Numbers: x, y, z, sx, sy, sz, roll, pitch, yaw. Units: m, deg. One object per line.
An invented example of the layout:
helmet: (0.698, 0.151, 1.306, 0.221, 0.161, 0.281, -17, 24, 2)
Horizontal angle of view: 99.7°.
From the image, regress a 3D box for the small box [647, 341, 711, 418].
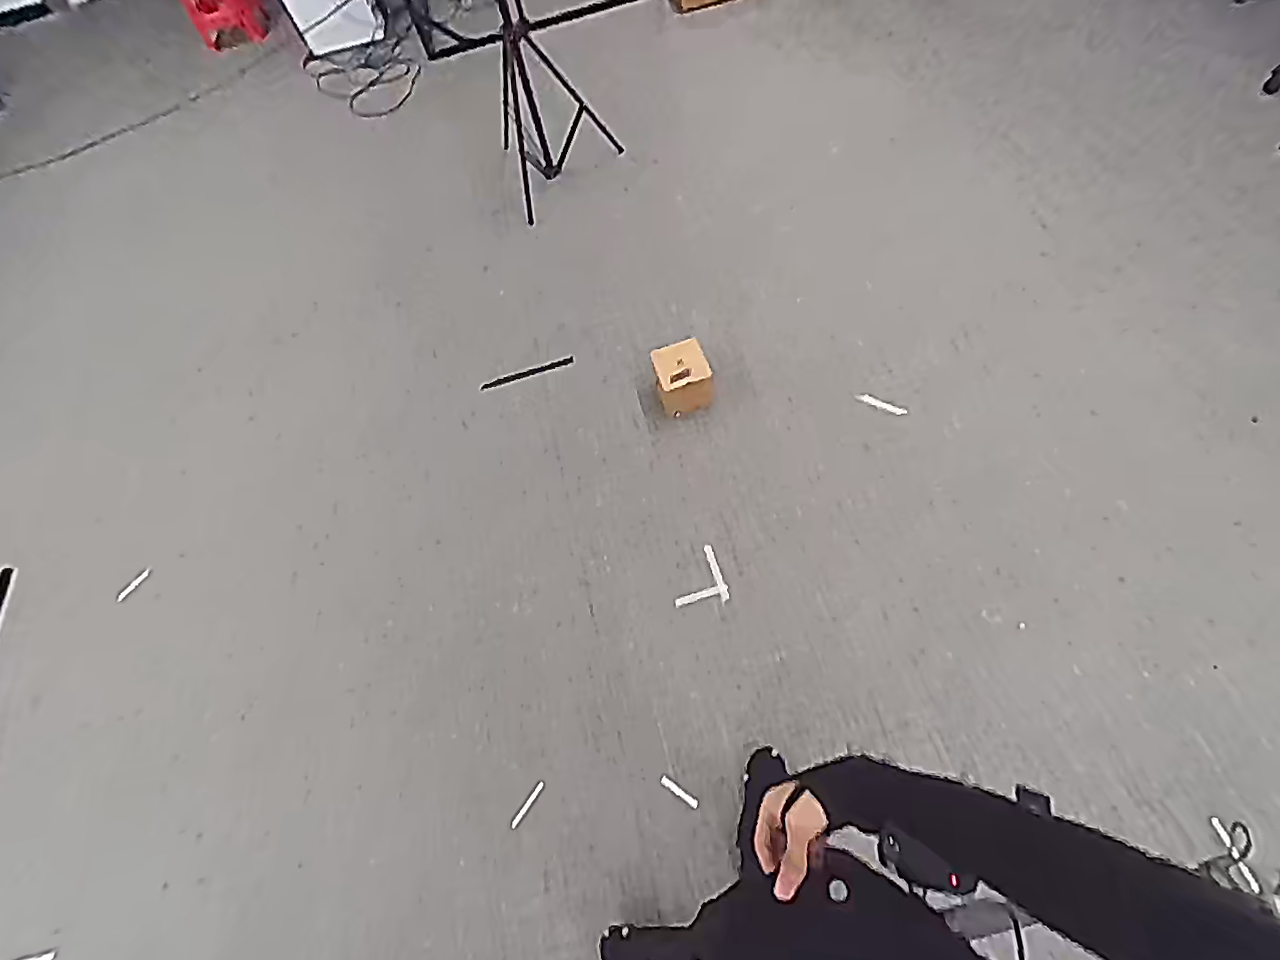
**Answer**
small box: (0.135, -0.329, 1.820, 0.168, 0.176, 0.179, -18, 62, -1)
